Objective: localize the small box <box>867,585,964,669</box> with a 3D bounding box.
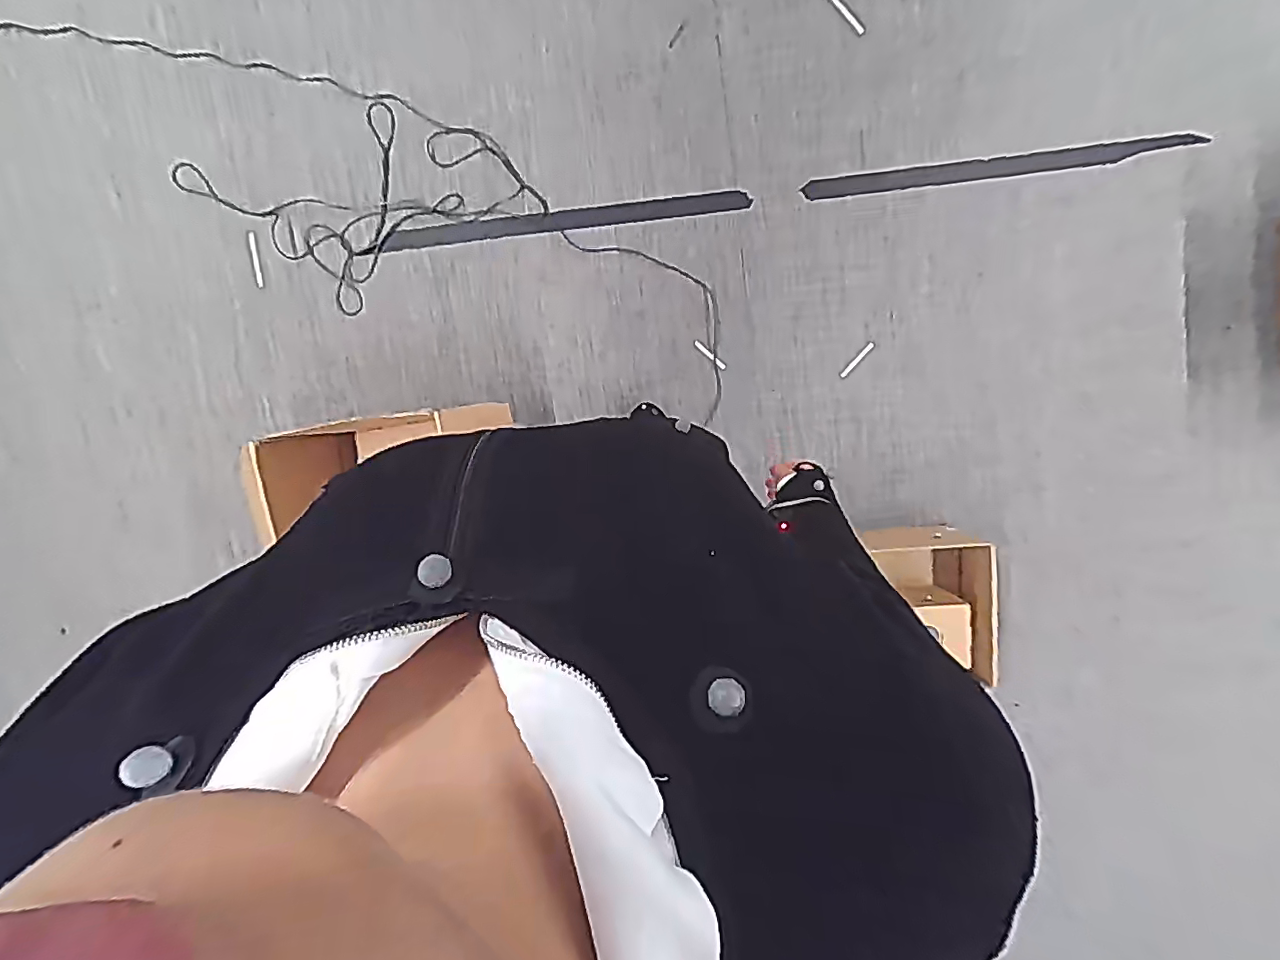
[{"bbox_3d":[0.721,0.381,1.425,0.179,0.176,0.168,-4,94,1],"label":"small box"}]
